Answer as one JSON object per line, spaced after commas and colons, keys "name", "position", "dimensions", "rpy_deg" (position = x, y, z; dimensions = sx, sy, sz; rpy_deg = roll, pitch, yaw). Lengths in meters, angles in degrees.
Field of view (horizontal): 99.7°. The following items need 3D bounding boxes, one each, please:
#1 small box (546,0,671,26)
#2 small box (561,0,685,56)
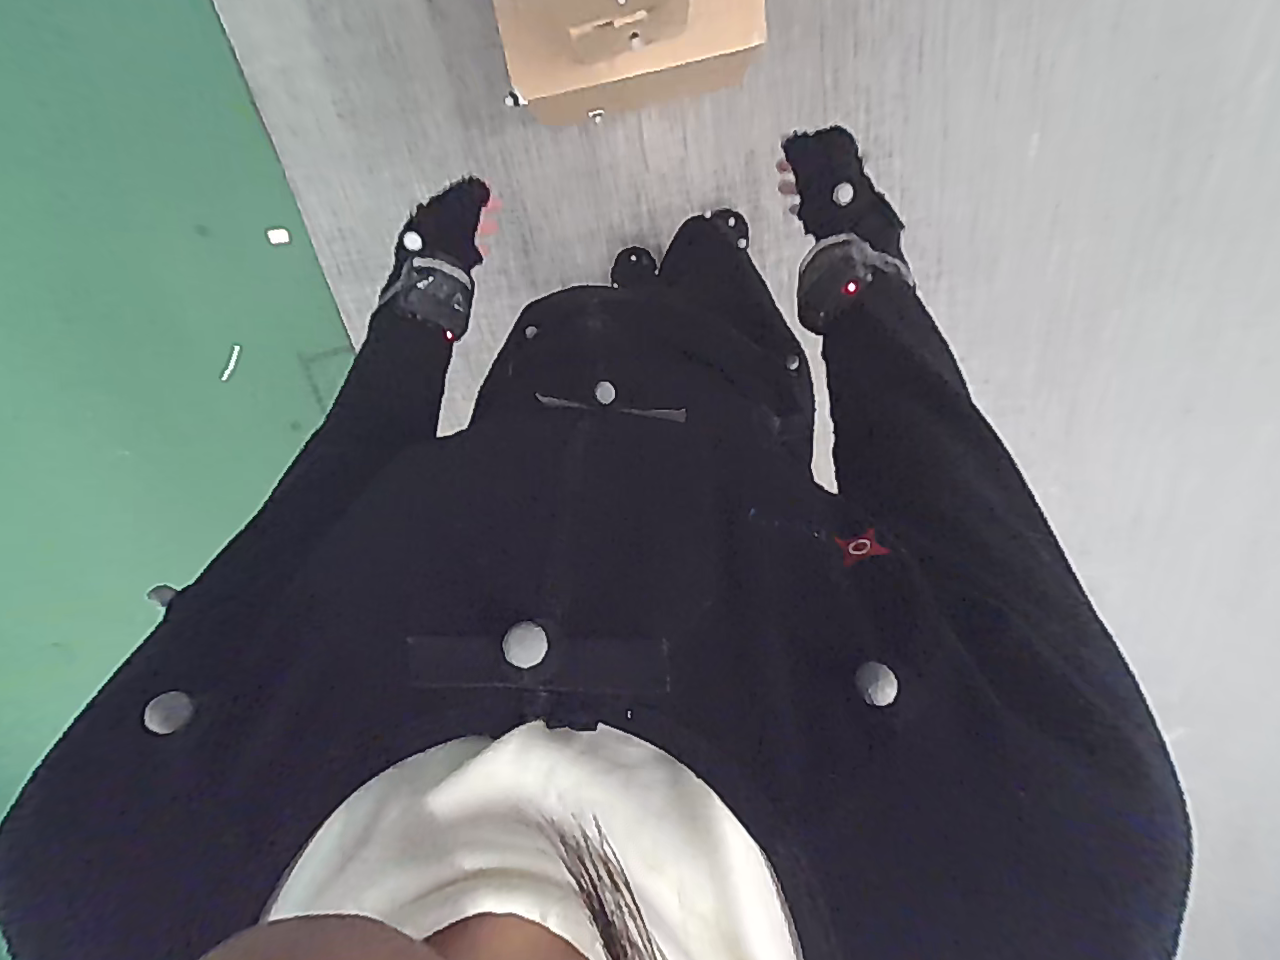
{"name": "small box", "position": [-0.033, -0.628, 0.581], "dimensions": [0.179, 0.176, 0.168], "rpy_deg": [-8, 117, 8]}
{"name": "small box", "position": [-0.034, -0.704, 0.727], "dimensions": [0.168, 0.176, 0.179], "rpy_deg": [-12, 117, 9]}
